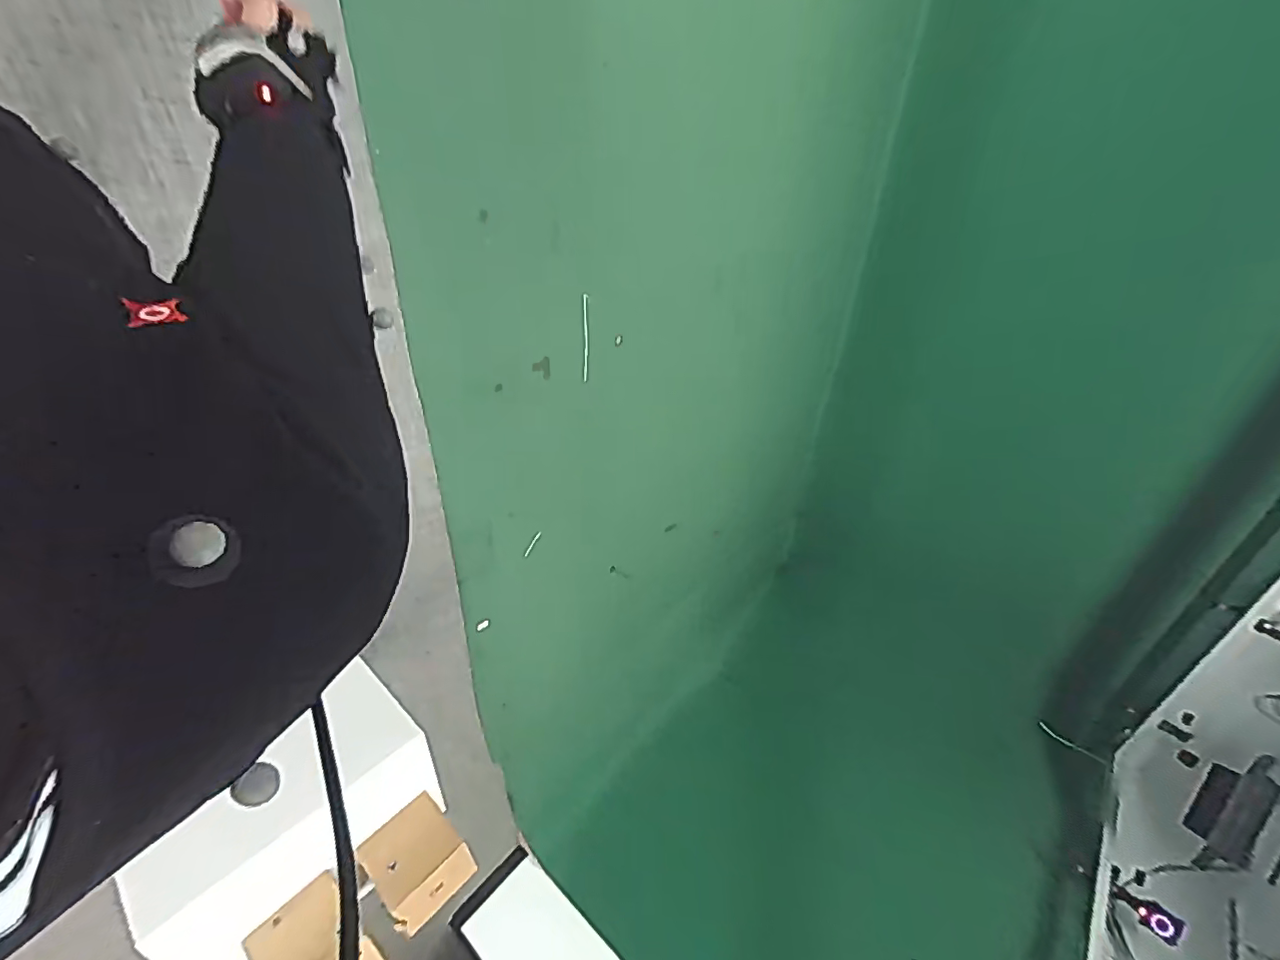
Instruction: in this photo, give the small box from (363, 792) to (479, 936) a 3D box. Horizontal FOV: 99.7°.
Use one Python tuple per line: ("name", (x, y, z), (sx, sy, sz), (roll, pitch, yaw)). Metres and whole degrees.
("small box", (-0.499, 0.862, 1.225), (0.179, 0.176, 0.168), (-35, 139, -37))
